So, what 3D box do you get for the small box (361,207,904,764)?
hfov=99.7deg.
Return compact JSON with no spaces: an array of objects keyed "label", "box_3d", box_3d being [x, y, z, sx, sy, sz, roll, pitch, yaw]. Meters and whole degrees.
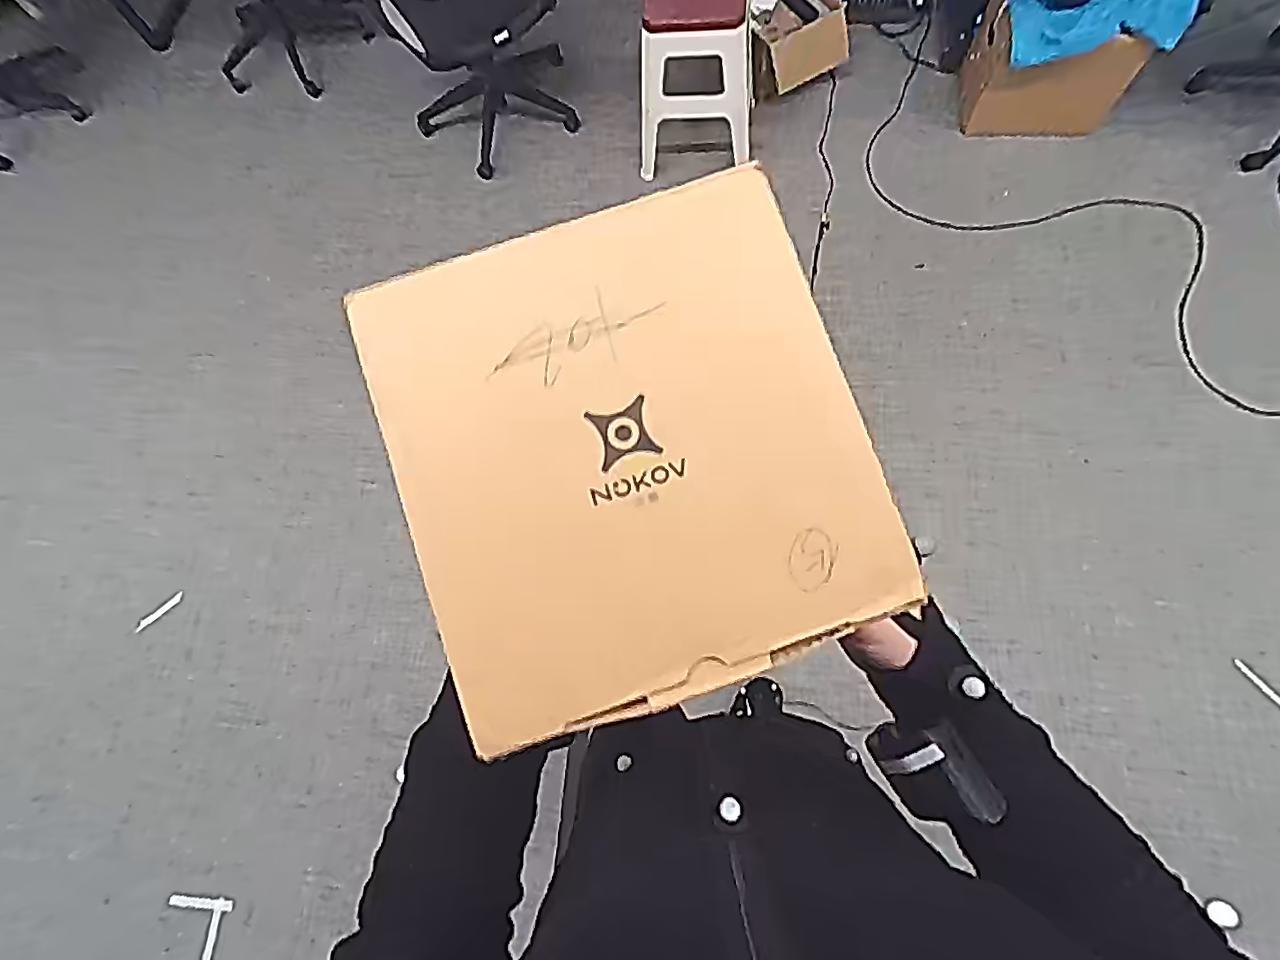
[{"label":"small box","box_3d":[-0.005,0.006,0.285,0.168,0.176,0.179,-20,83,-2]}]
